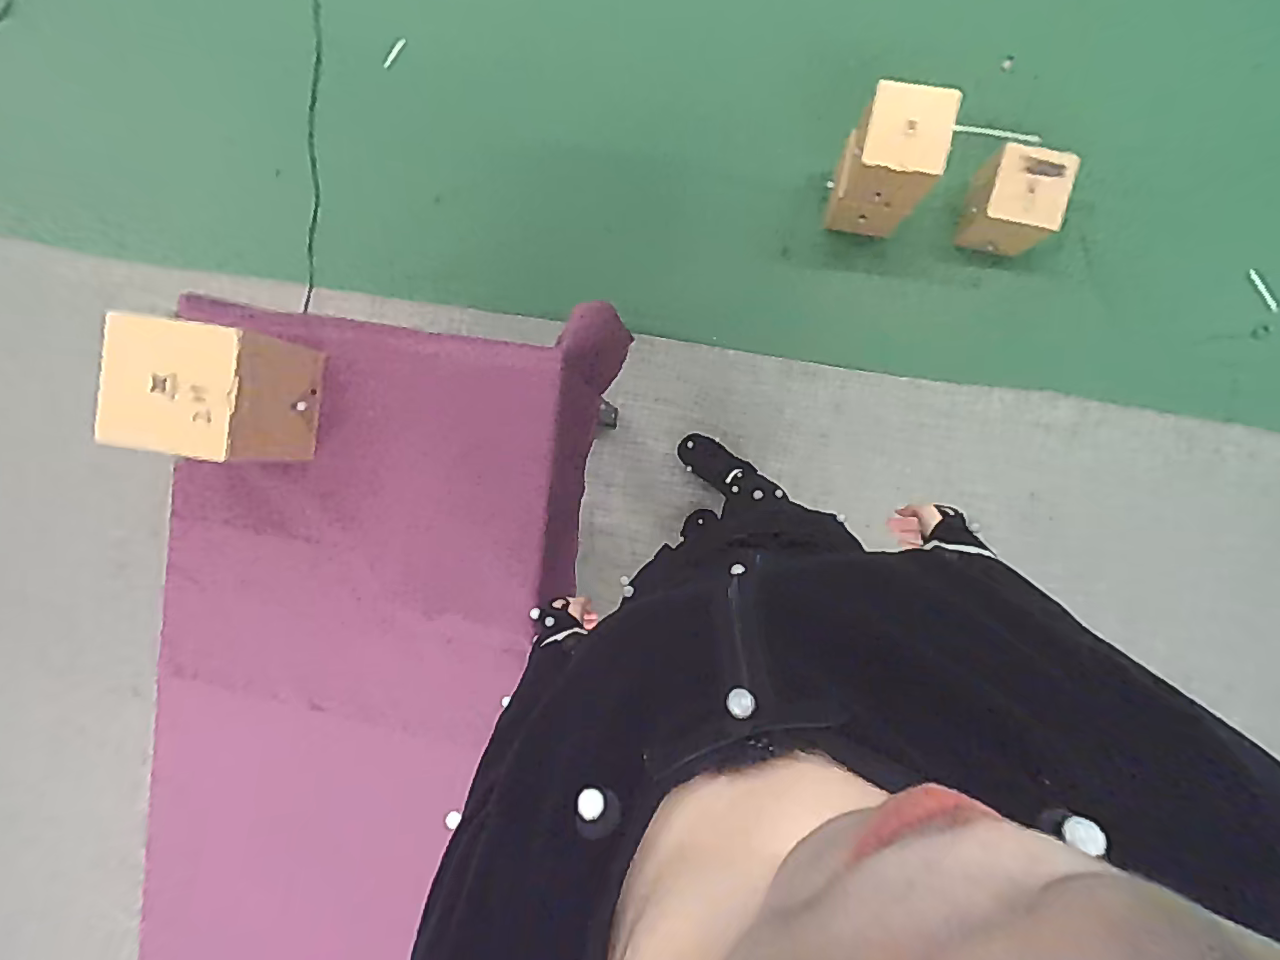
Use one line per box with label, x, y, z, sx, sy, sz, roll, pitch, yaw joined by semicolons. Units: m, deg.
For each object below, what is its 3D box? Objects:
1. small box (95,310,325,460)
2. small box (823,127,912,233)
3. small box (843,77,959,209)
small box;-0.580;-0.121;0.748;0.179;0.176;0.168;9;94;2
small box;0.578;-0.741;1.354;0.179;0.176;0.168;11;93;6
small box;0.563;-0.734;1.192;0.168;0.176;0.179;12;93;6
